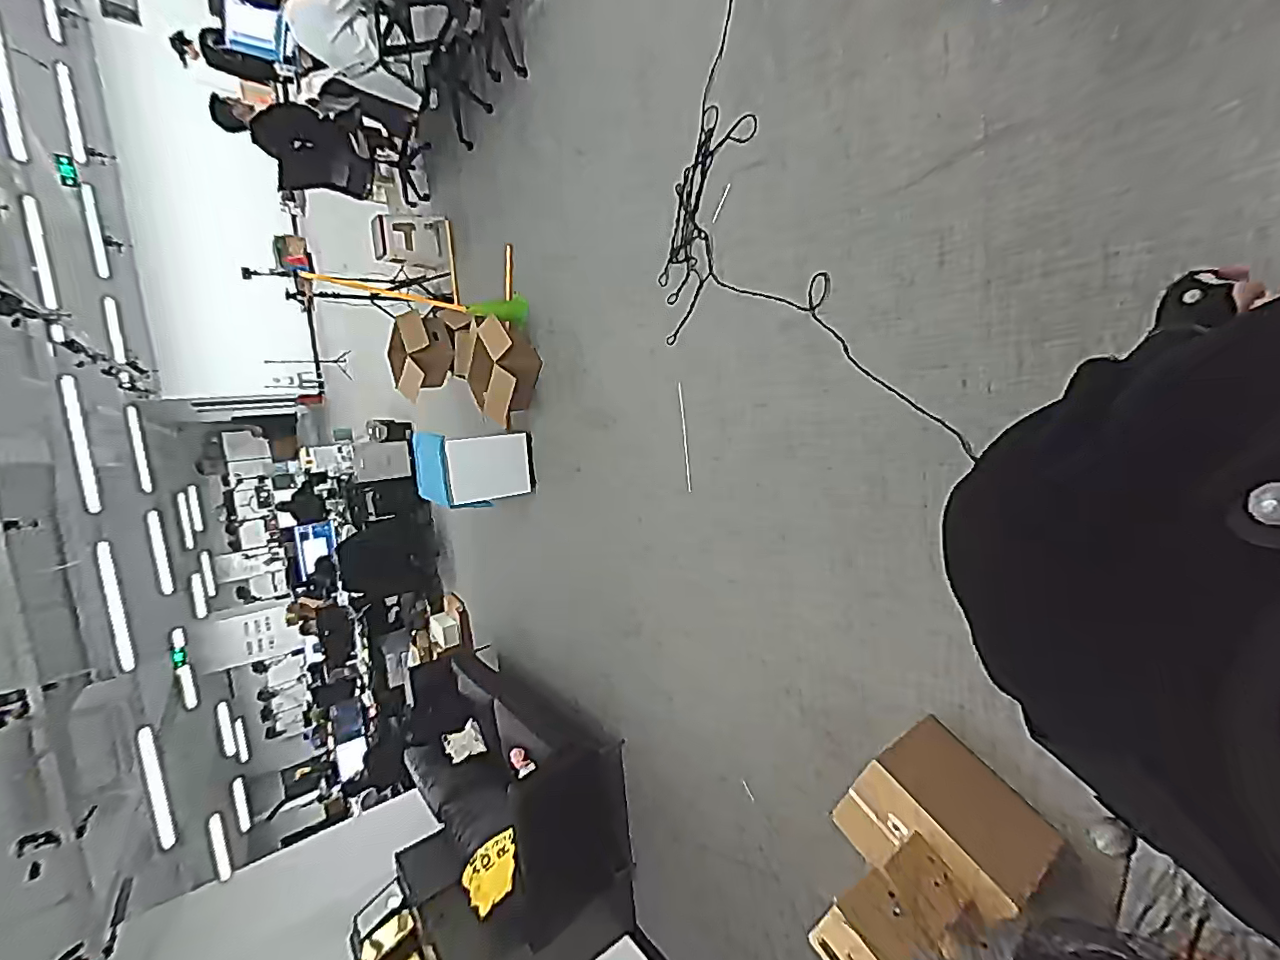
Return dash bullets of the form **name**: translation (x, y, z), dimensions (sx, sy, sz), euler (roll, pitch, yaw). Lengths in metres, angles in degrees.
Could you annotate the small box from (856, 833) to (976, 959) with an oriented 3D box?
- **small box**: translation (0.678, 1.018, 1.326), dimensions (0.168, 0.176, 0.179), euler (48, 134, 37)
